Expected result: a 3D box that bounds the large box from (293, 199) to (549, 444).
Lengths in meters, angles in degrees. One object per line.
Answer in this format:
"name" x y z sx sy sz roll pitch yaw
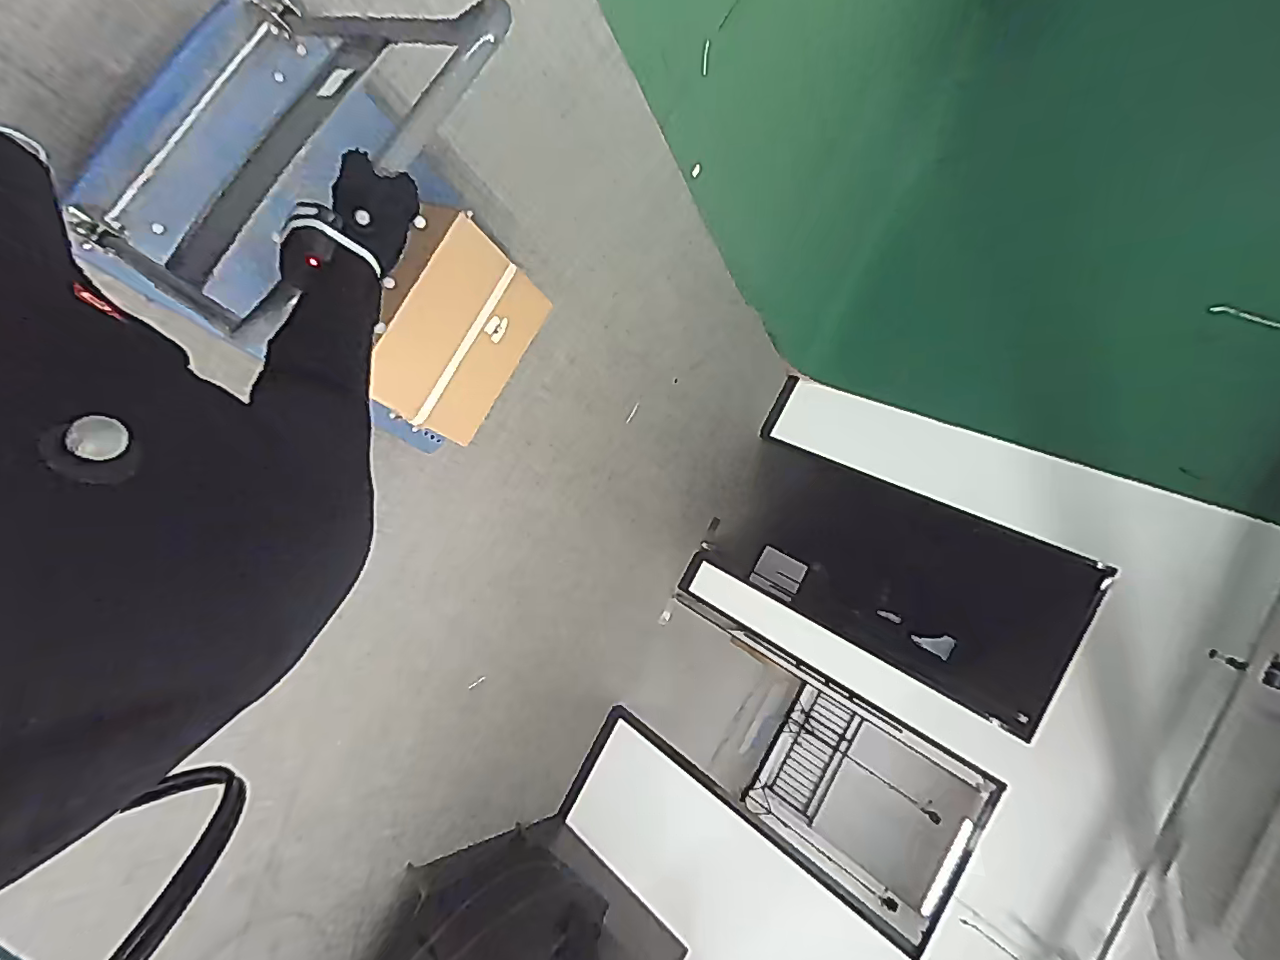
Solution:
"large box" -0.488 -0.355 1.231 0.408 0.320 0.320 -61 148 -5
